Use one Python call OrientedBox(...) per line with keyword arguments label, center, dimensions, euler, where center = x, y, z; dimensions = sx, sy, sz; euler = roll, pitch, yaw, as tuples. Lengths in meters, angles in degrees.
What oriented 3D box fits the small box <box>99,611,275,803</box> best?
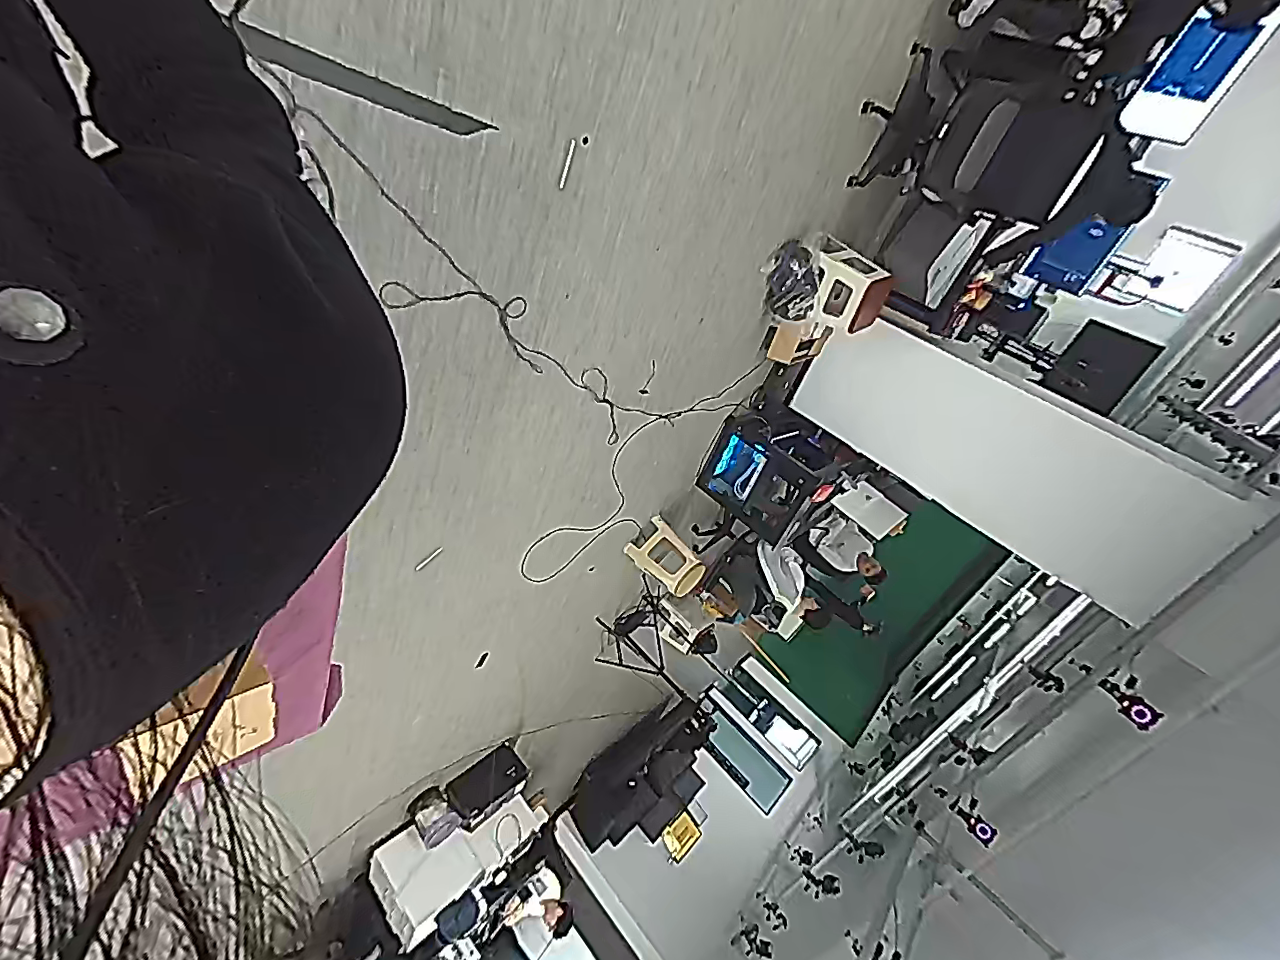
OrientedBox(label="small box", center=(-0.687, 0.334, 0.825), dimensions=(0.179, 0.176, 0.168), euler=(-18, 140, -47))
